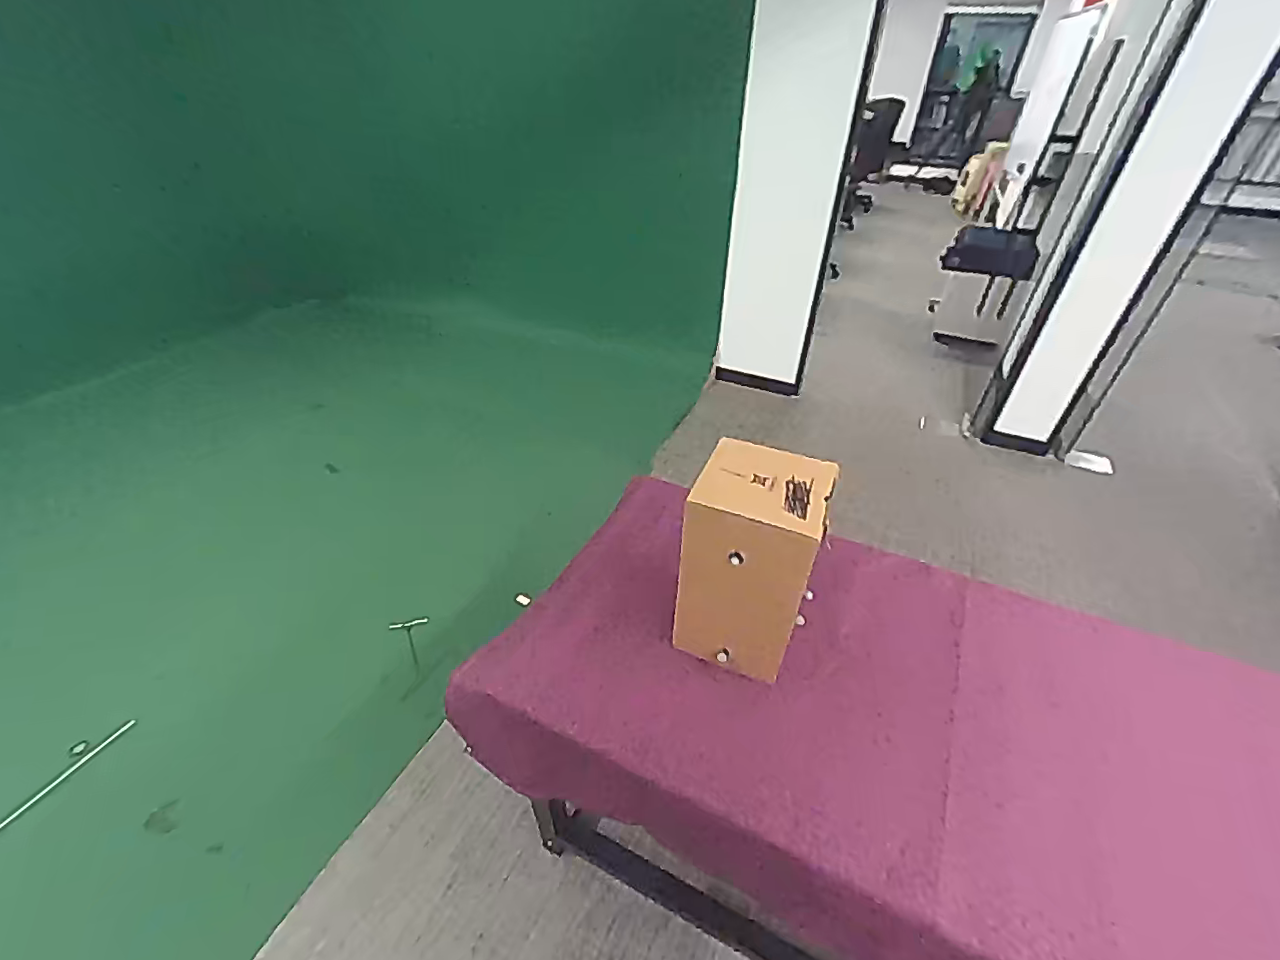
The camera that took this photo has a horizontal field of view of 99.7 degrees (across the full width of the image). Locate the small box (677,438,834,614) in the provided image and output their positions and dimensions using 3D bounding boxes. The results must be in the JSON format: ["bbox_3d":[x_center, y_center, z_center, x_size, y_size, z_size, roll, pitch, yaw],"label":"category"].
[{"bbox_3d":[0.164,0.068,0.788,0.179,0.176,0.168,16,42,19],"label":"small box"}]

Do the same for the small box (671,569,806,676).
[{"bbox_3d":[0.161,0.195,0.894,0.179,0.176,0.168,17,42,18],"label":"small box"}]
